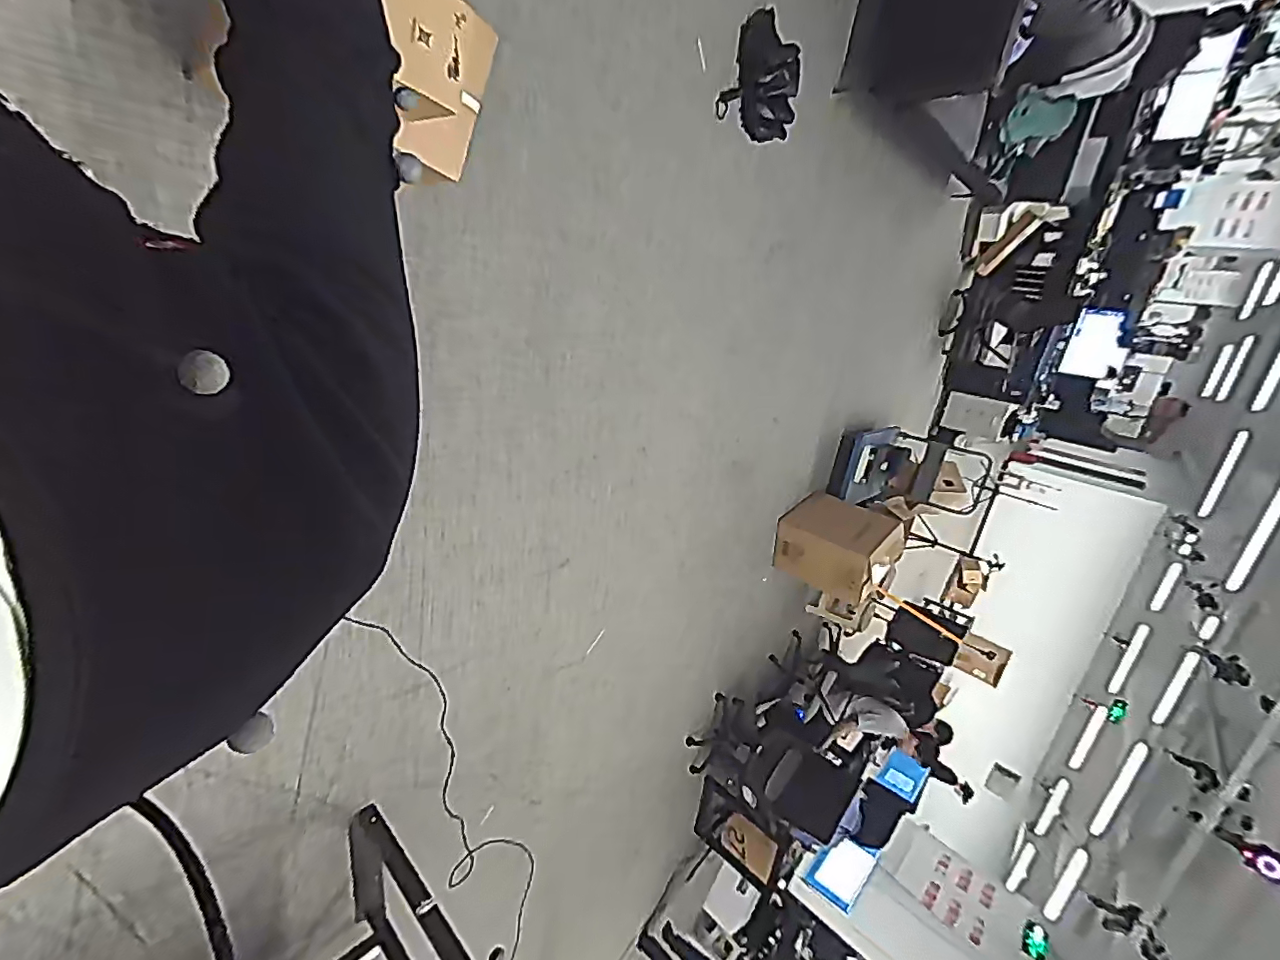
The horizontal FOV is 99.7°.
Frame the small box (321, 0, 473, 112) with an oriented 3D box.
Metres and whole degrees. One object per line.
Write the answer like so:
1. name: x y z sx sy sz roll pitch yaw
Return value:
1. small box: -0.412 -0.747 0.908 0.179 0.176 0.168 -1 111 -49
